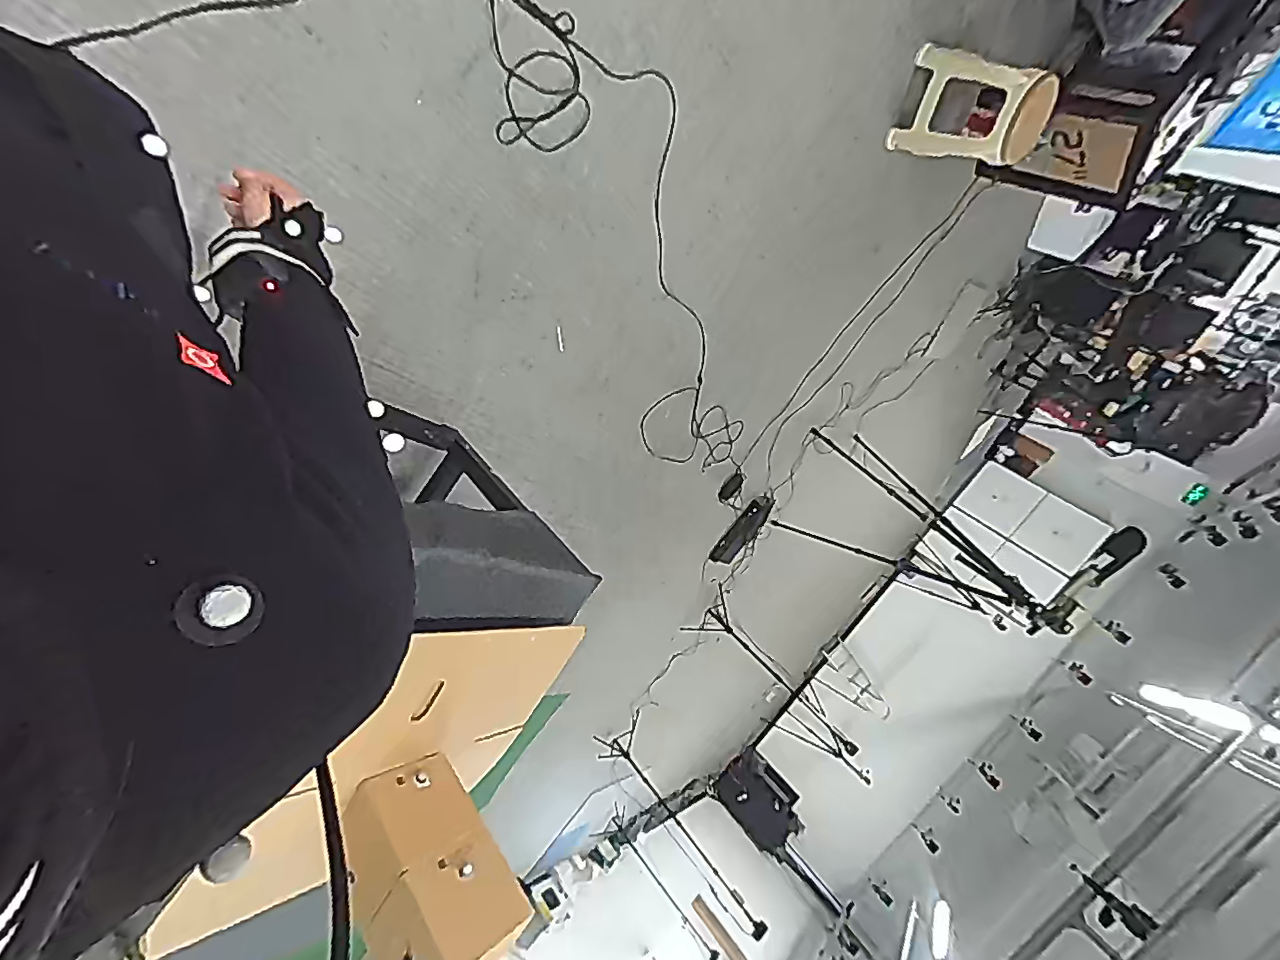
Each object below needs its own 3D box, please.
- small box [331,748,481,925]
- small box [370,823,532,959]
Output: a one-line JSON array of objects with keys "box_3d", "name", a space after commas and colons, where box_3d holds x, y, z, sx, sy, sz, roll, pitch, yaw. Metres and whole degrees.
[{"box_3d": [-0.429, 0.630, 0.979, 0.168, 0.176, 0.179, 7, 118, -57], "name": "small box"}, {"box_3d": [-0.320, 0.726, 0.902, 0.168, 0.176, 0.179, 6, 120, -57], "name": "small box"}]
